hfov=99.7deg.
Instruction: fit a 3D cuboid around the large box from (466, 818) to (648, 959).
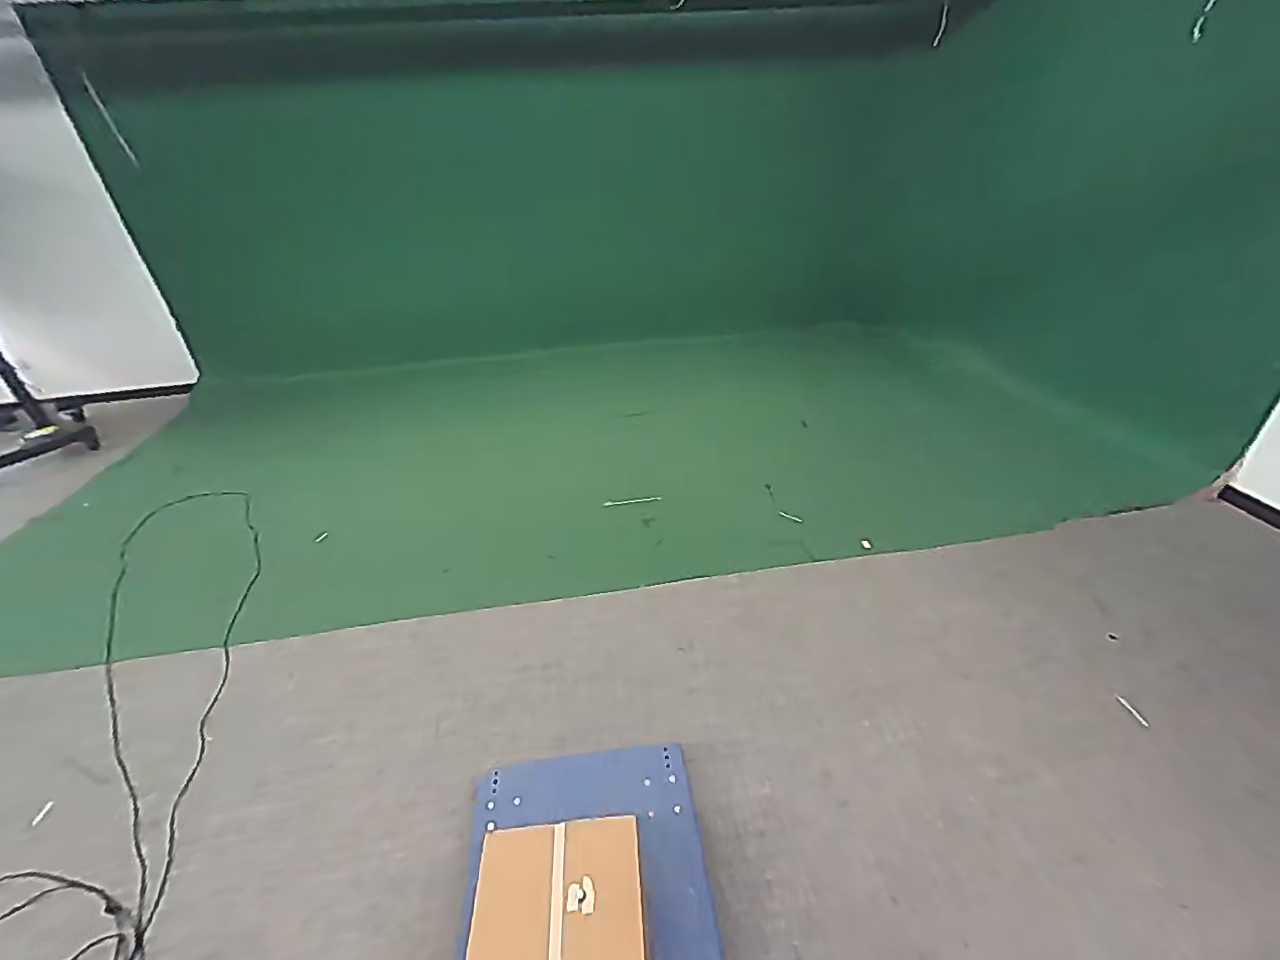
[{"bbox_3d":[-0.141,0.948,1.029,0.320,0.320,0.408,-5,32,-2],"label":"large box"}]
